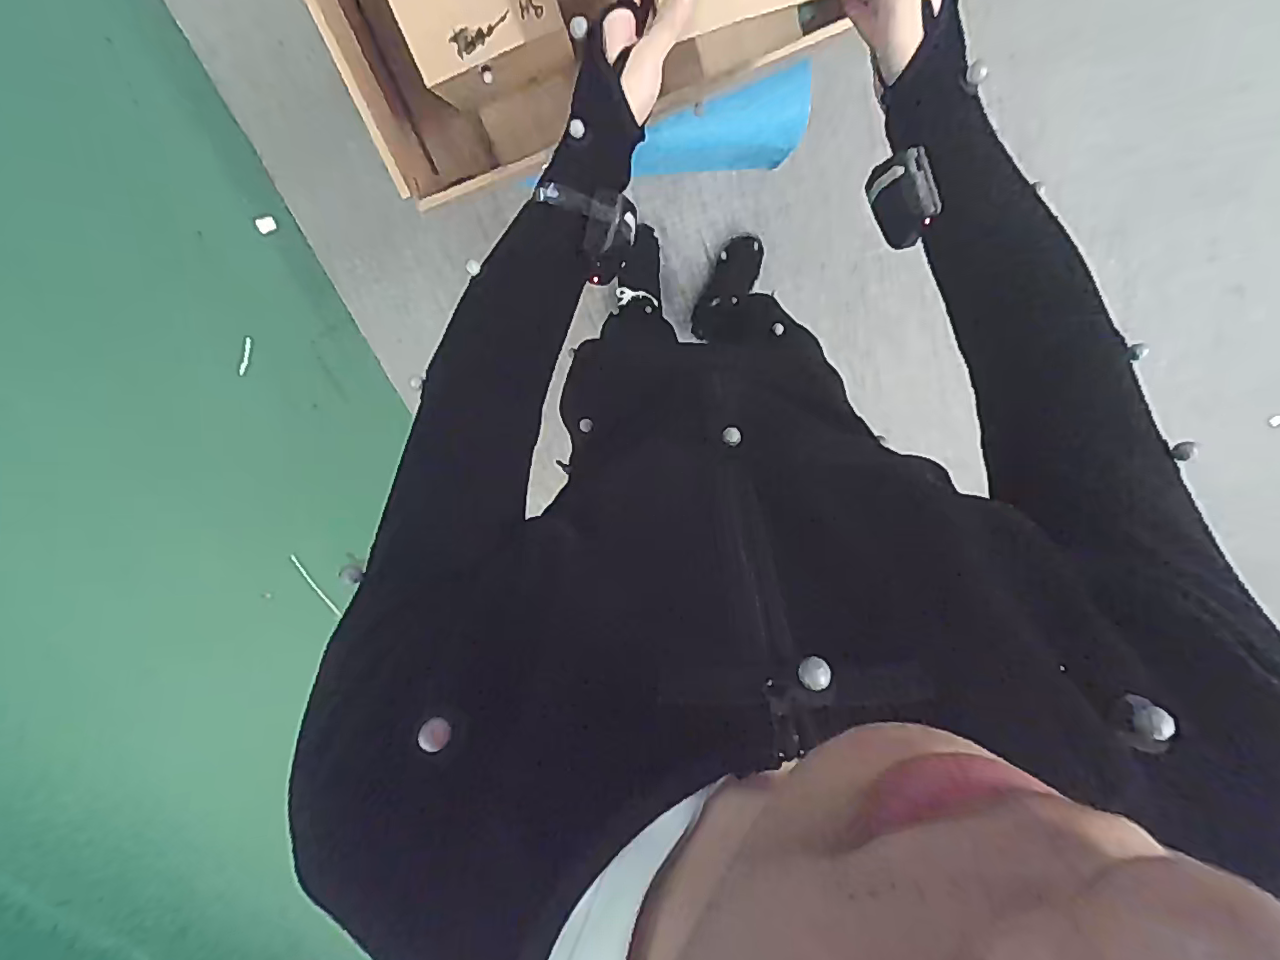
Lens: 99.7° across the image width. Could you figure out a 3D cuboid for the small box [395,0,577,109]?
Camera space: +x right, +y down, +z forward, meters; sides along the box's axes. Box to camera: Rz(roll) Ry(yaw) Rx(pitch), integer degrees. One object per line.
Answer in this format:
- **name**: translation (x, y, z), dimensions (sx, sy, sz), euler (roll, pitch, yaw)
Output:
- **small box**: translation (-0.183, -0.564, 0.616), dimensions (0.168, 0.176, 0.179), euler (-18, 114, 8)
